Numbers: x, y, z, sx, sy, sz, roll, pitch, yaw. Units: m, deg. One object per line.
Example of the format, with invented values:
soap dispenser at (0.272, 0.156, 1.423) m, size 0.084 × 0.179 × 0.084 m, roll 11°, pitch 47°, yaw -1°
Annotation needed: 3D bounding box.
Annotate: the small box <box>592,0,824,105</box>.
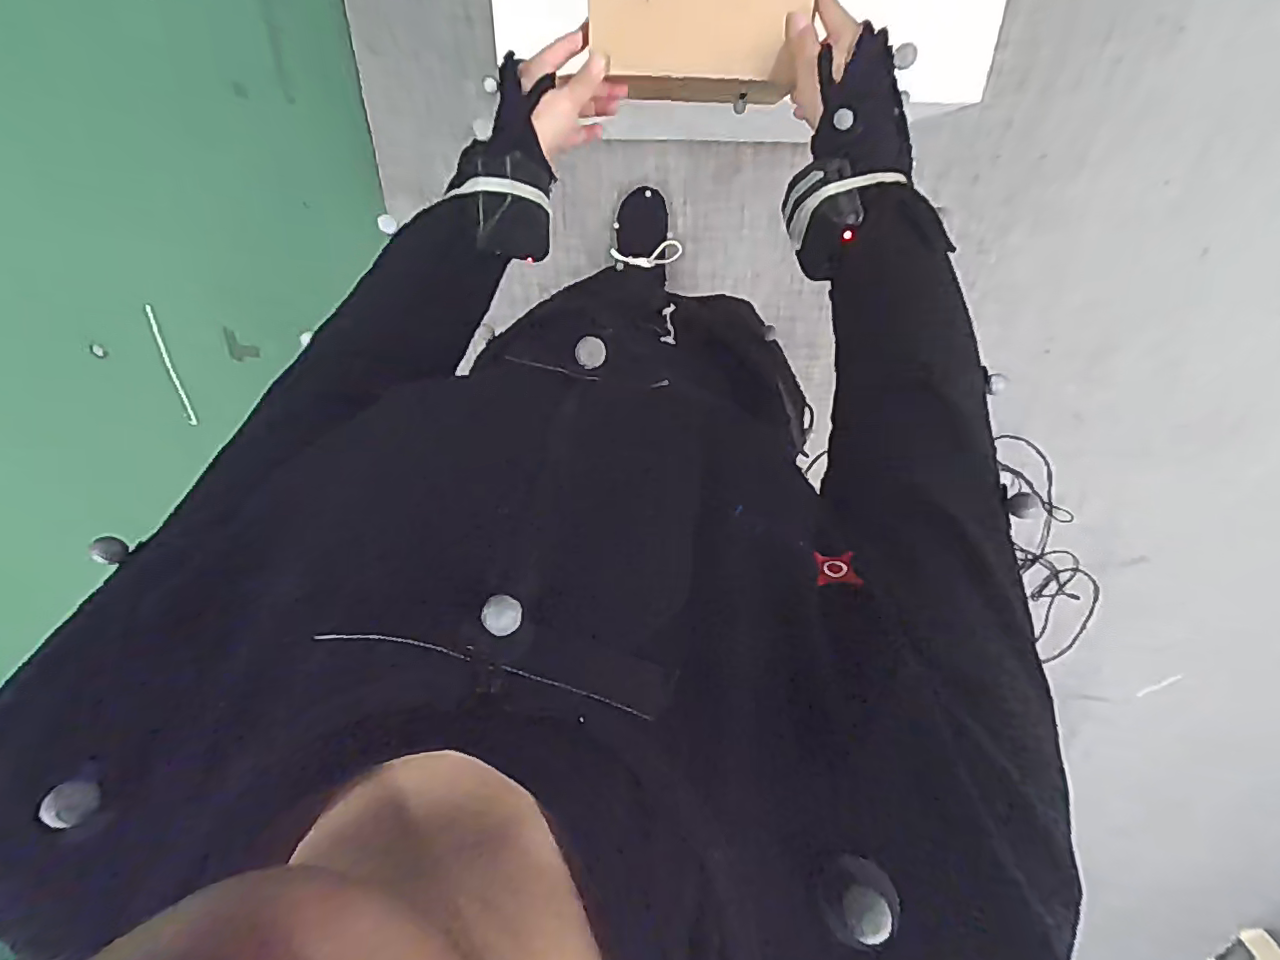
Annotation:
small box at (0.056, -0.429, 0.459) m, size 0.179 × 0.176 × 0.168 m, roll 3°, pitch 119°, yaw 3°
